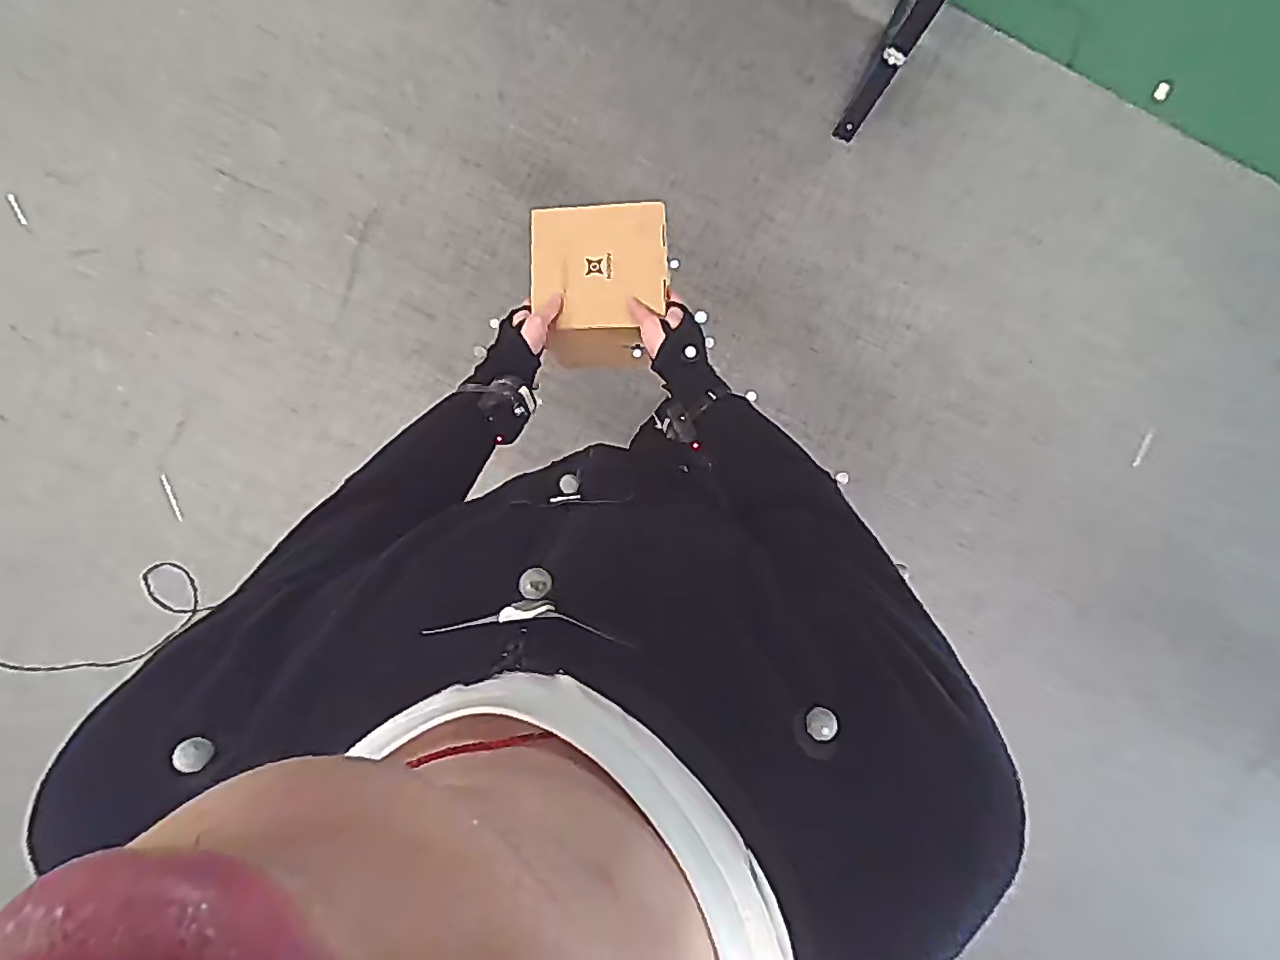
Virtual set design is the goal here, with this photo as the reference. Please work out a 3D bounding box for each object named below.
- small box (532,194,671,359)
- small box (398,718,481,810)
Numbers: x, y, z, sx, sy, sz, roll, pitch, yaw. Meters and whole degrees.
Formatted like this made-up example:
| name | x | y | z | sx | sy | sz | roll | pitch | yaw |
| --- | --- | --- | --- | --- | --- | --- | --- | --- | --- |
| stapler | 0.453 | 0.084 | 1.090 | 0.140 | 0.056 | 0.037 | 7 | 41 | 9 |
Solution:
| name | x | y | z | sx | sy | sz | roll | pitch | yaw |
| --- | --- | --- | --- | --- | --- | --- | --- | --- | --- |
| small box | -0.045 | -0.278 | 0.773 | 0.179 | 0.176 | 0.168 | -1 | 84 | 6 |
| small box | -0.542 | 0.771 | 1.481 | 0.179 | 0.176 | 0.168 | 3 | 94 | -4 |
